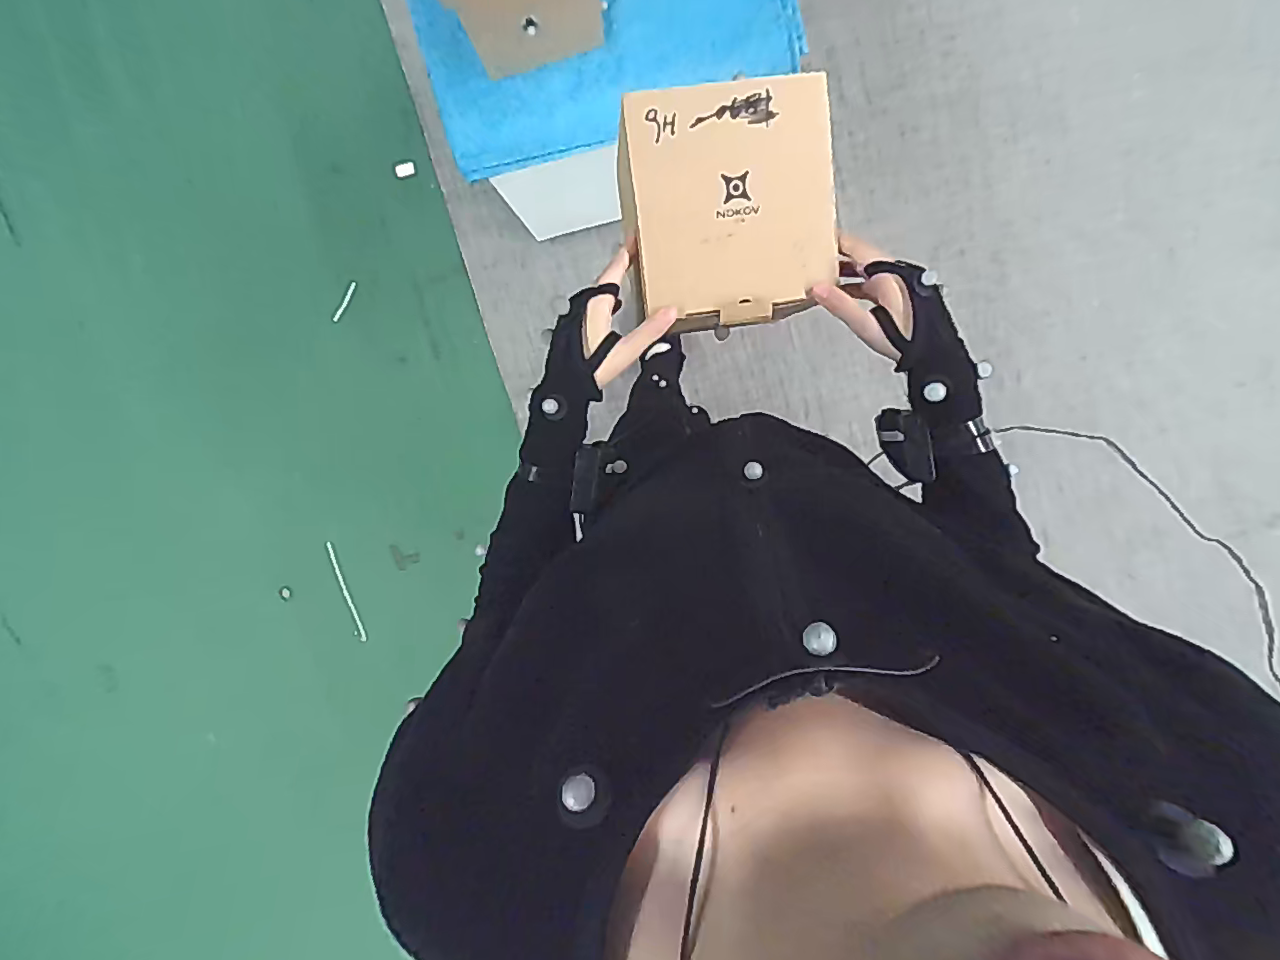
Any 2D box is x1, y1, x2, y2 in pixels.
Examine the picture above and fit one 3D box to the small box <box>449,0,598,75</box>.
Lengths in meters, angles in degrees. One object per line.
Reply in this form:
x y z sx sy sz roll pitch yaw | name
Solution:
-0.157 -0.667 0.687 0.179 0.176 0.168 -15 99 4 | small box
